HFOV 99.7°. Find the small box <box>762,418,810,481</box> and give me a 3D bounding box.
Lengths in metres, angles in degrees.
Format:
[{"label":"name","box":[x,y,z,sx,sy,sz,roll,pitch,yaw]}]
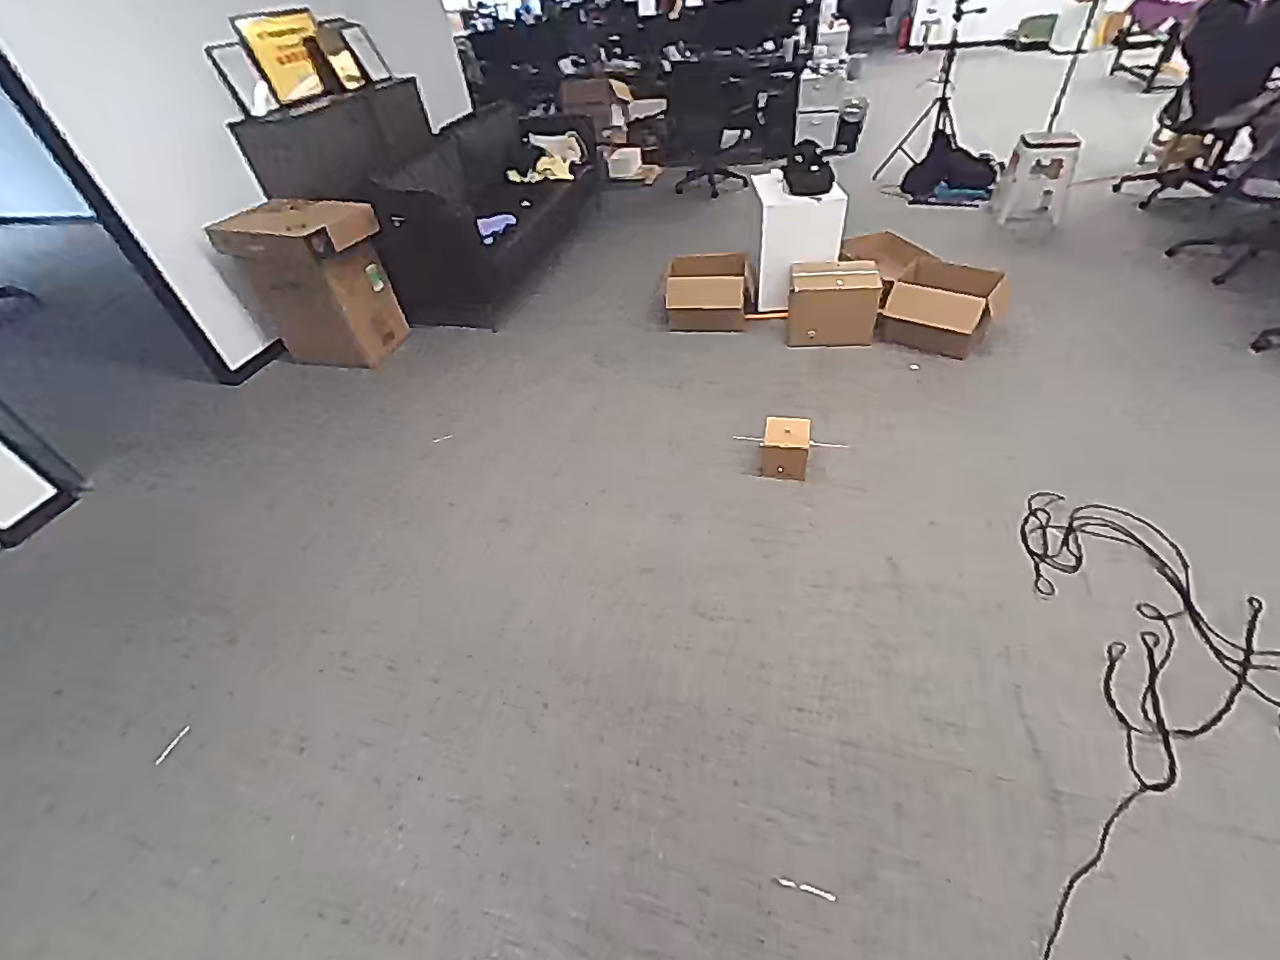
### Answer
[{"label":"small box","box":[0.566,-0.119,2.104,0.168,0.176,0.179,5,45,14]}]
